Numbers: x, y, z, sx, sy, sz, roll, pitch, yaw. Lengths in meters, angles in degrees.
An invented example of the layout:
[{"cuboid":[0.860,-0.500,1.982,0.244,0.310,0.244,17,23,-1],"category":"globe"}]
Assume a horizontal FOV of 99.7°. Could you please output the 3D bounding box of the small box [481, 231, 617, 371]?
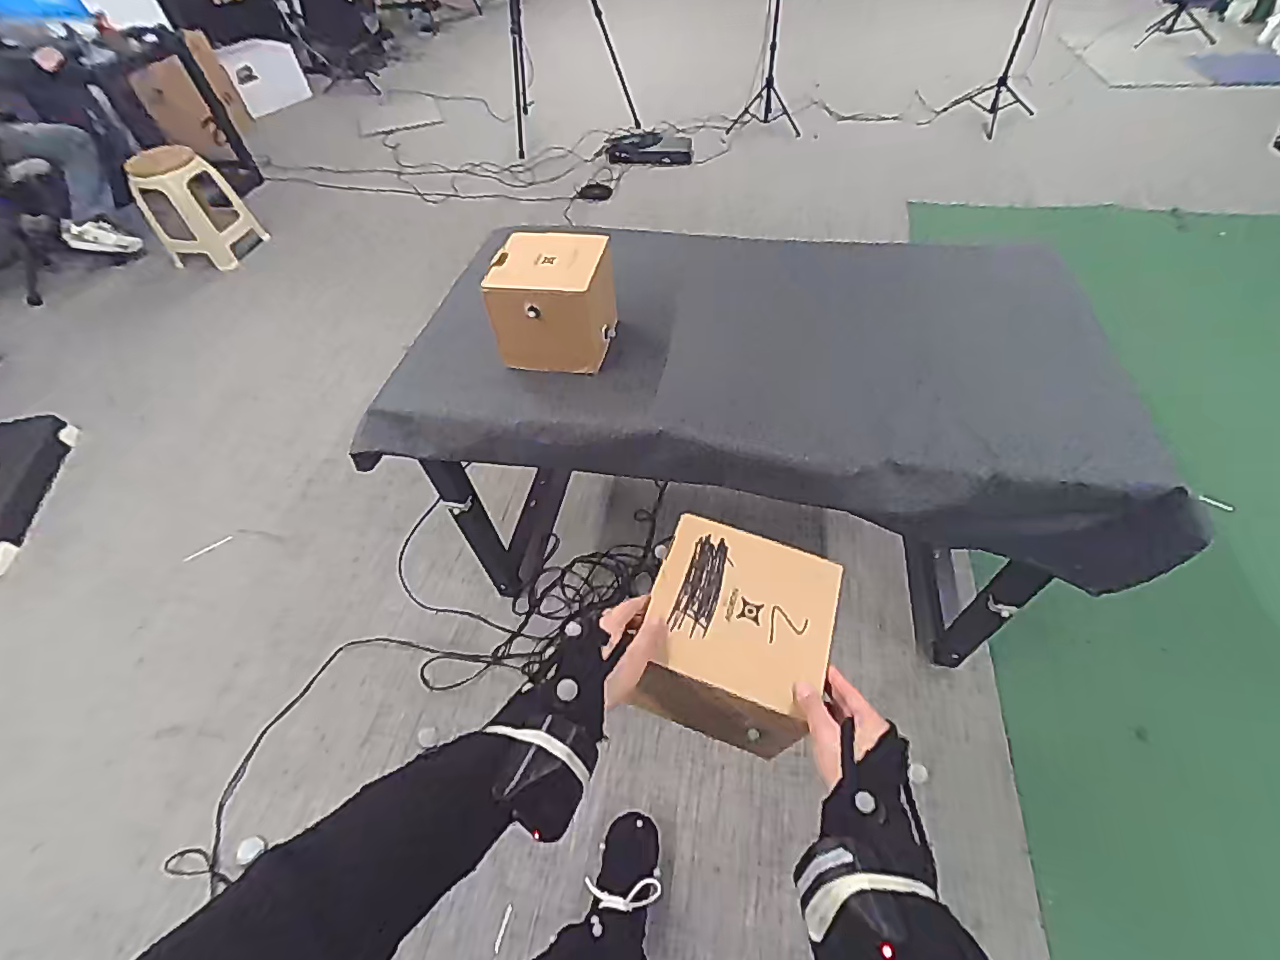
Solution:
[{"cuboid":[-0.145,-0.307,0.935,0.179,0.176,0.168,7,54,8],"category":"small box"}]
